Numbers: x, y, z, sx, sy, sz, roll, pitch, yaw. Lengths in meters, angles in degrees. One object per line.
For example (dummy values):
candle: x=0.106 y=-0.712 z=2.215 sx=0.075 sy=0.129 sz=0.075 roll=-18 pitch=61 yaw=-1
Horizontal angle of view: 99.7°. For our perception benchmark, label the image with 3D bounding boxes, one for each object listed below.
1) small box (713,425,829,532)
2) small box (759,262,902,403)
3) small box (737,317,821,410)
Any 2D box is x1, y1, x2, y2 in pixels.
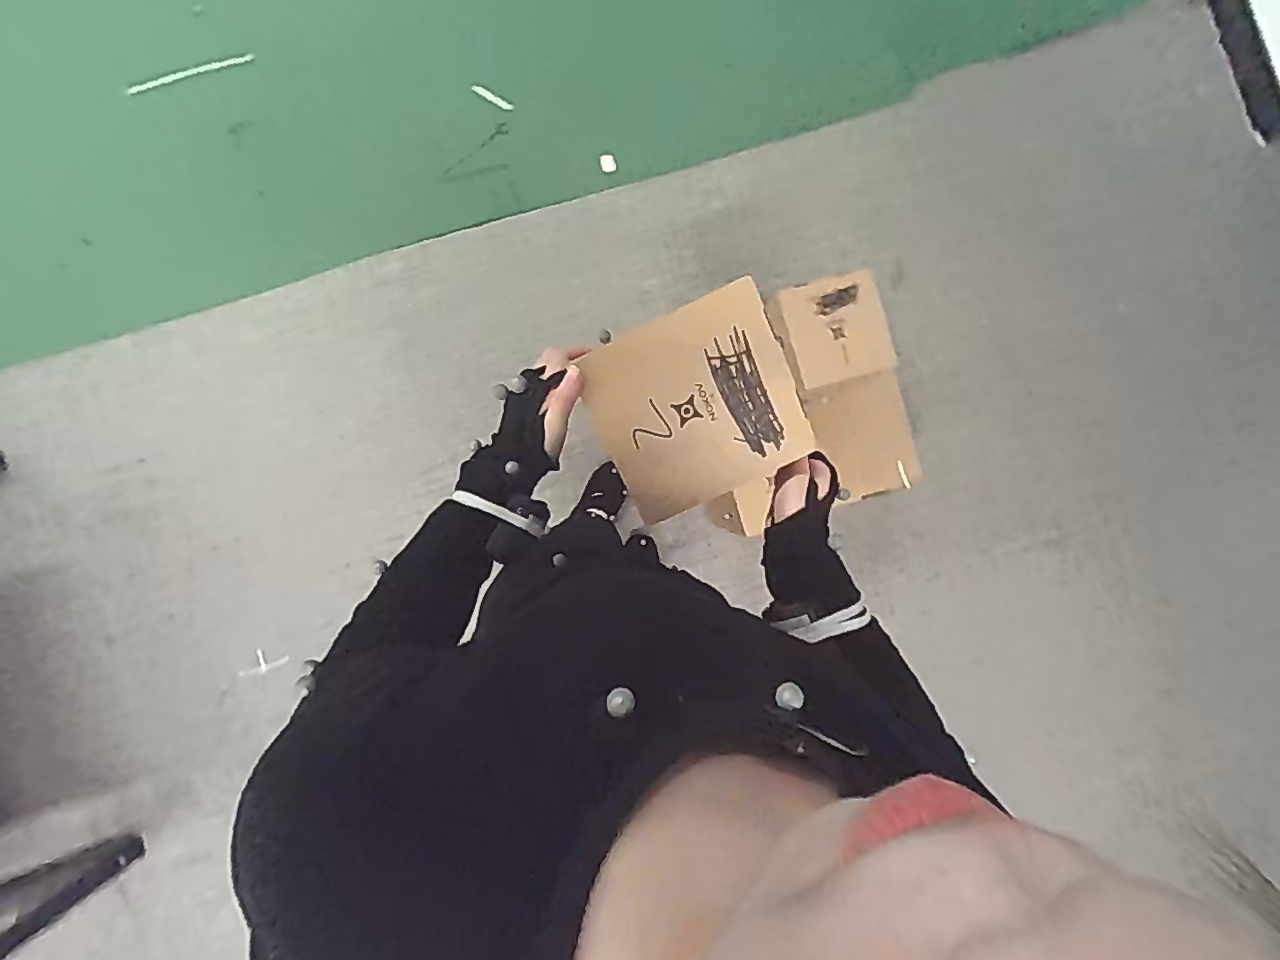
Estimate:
small box: x=0.263 y=-0.002 z=1.123 sx=0.168 sy=0.176 sz=0.179 roll=-17 pitch=89 yaw=-3
small box: x=0.328 y=-0.254 z=0.968 sx=0.168 sy=0.176 sz=0.179 roll=-16 pitch=88 yaw=-3
small box: x=0.323 y=-0.255 z=1.134 sx=0.179 sy=0.176 sz=0.168 roll=-15 pitch=88 yaw=-4
